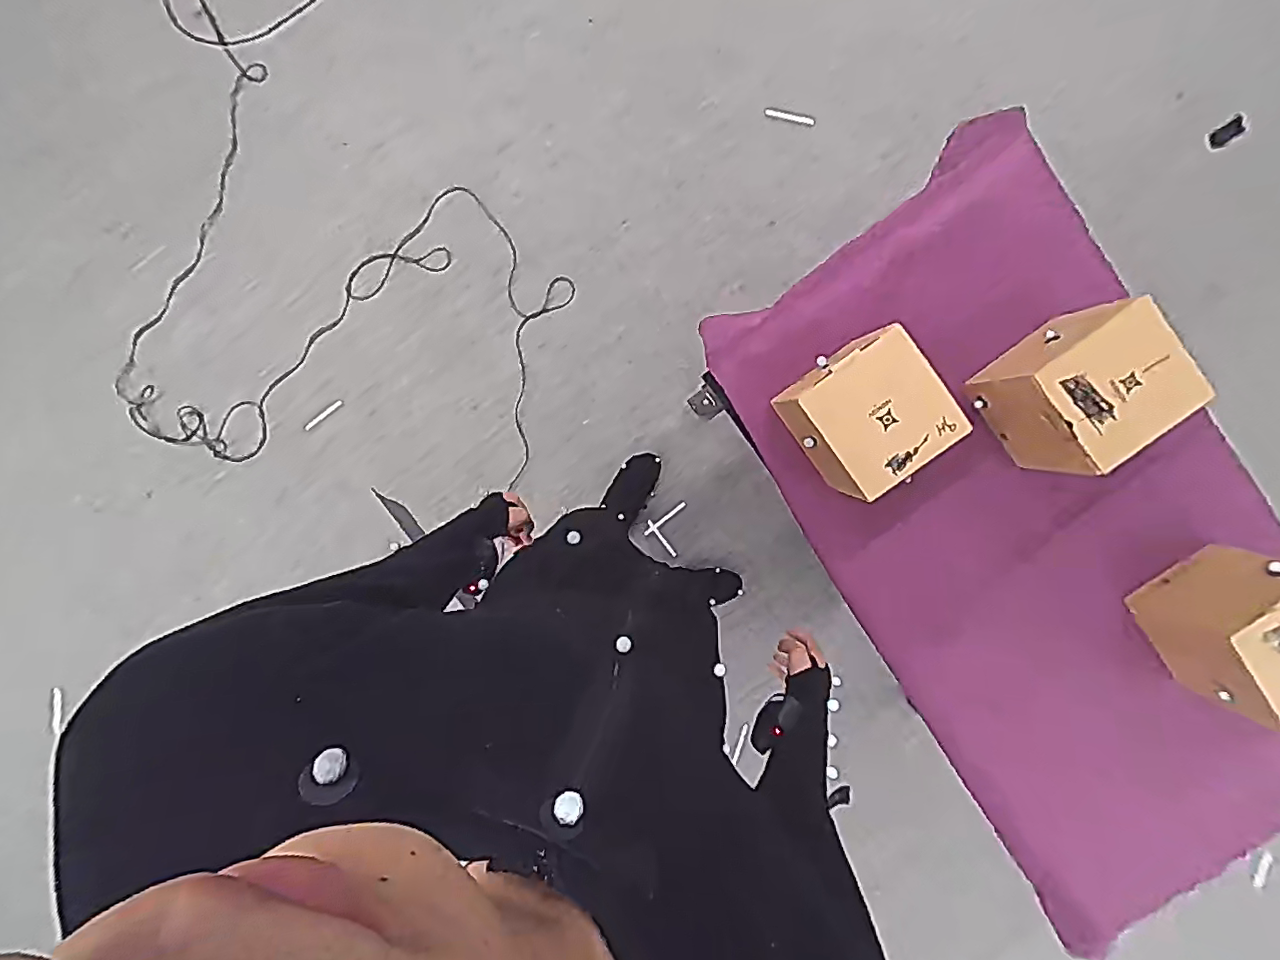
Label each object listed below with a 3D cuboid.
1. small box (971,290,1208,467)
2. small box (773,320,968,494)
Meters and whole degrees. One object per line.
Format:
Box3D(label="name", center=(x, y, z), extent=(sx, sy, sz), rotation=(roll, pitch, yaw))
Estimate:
Box3D(label="small box", center=(0.622, -0.137, 0.781), extent=(0.179, 0.176, 0.168), rotation=(-37, 94, 5))
Box3D(label="small box", center=(0.319, -0.101, 0.791), extent=(0.168, 0.176, 0.179), rotation=(-36, 93, 5))
